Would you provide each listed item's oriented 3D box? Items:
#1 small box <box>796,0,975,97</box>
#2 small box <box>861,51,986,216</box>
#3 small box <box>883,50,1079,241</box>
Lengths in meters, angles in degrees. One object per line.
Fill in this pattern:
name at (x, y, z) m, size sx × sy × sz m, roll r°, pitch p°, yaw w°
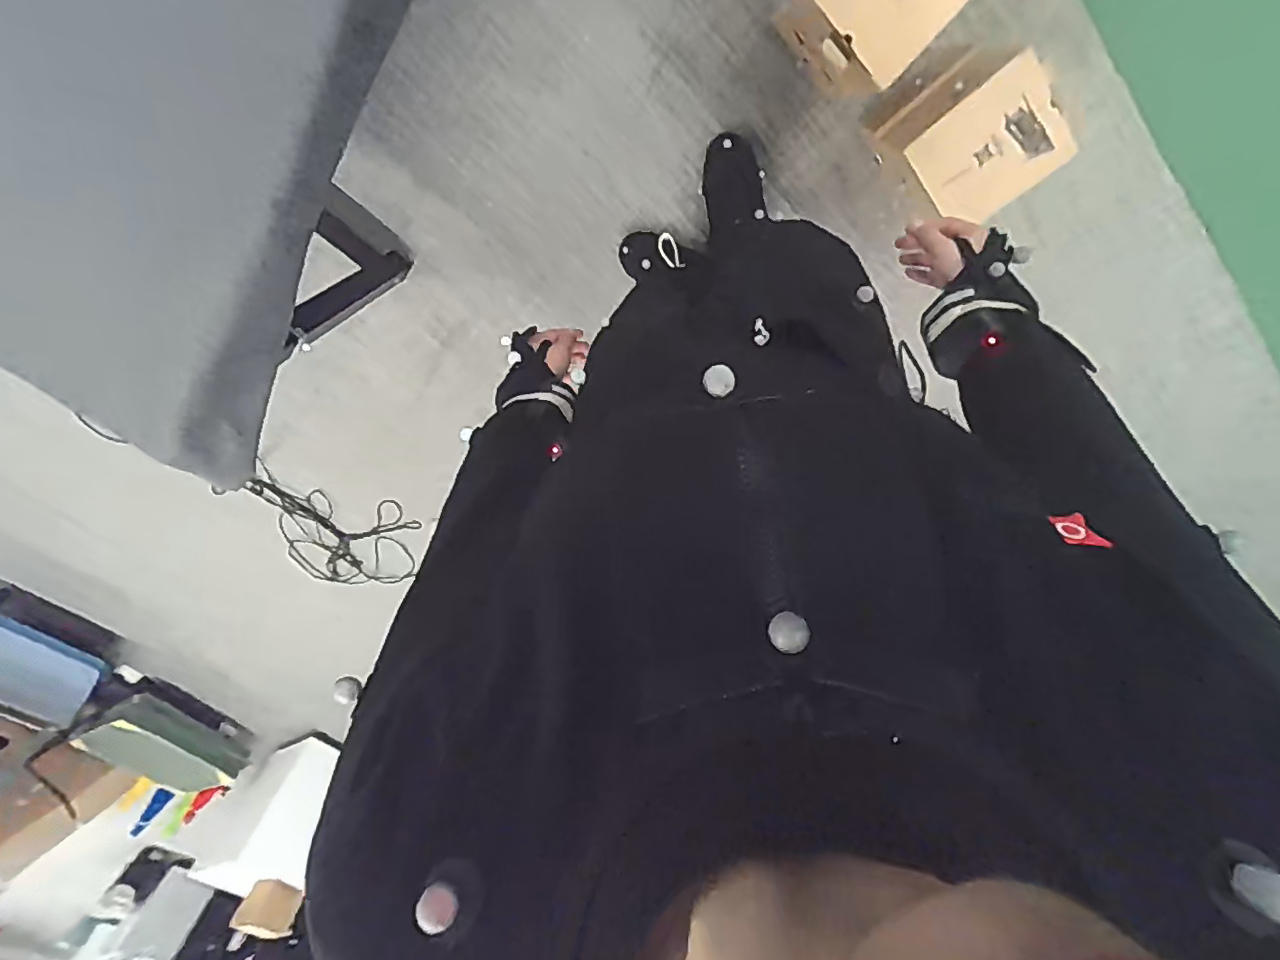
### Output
small box at (0.335, -0.666, 0.734) m, size 0.168 × 0.176 × 0.179 m, roll 36°, pitch 123°, yaw -18°
small box at (0.522, -0.610, 0.956) m, size 0.179 × 0.176 × 0.168 m, roll -35°, pitch 114°, yaw 30°
small box at (0.507, -0.508, 0.828) m, size 0.179 × 0.176 × 0.168 m, roll -35°, pitch 114°, yaw 29°
